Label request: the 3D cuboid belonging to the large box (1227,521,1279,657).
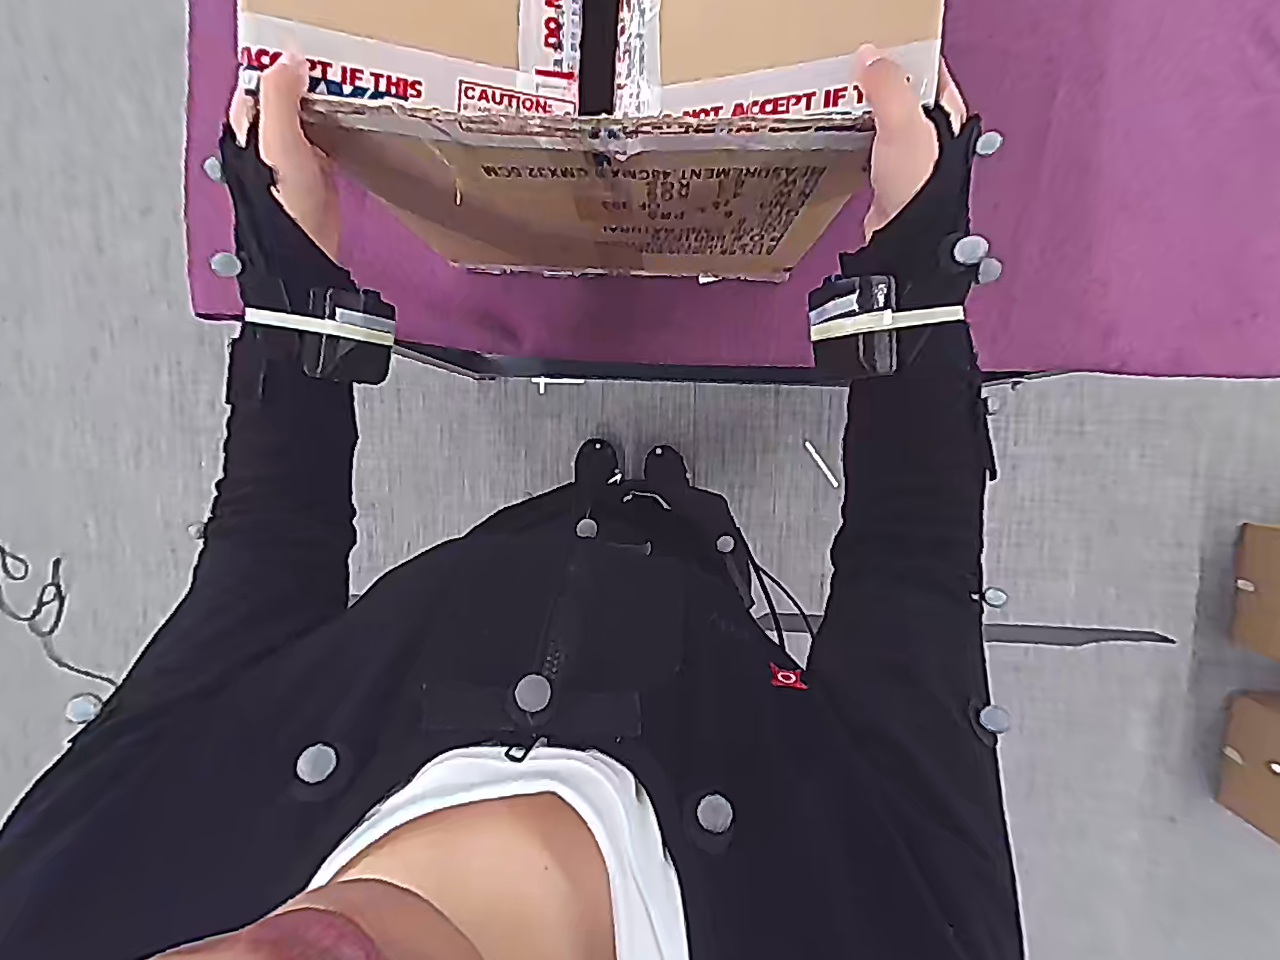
[{"bbox_3d":[1.676,0.265,1.197,0.408,0.320,0.320,1,94,3],"label":"large box"}]
